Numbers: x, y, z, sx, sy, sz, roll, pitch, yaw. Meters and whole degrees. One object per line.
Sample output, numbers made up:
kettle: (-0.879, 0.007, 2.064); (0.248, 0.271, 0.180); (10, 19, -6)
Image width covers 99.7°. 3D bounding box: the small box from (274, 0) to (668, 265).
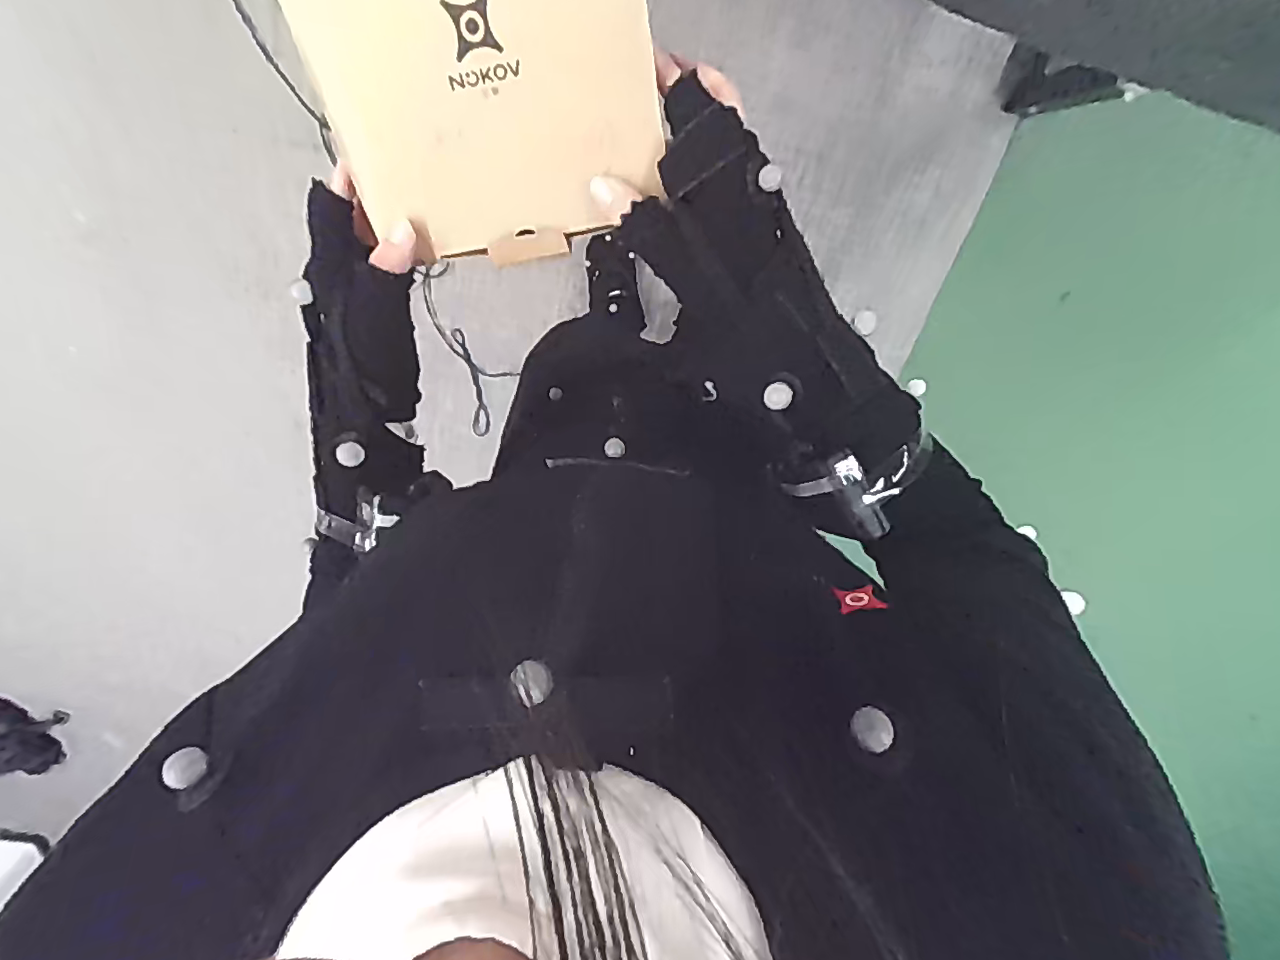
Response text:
small box: (-0.077, -0.251, 0.318); (0.168, 0.176, 0.179); (-9, 123, 9)
